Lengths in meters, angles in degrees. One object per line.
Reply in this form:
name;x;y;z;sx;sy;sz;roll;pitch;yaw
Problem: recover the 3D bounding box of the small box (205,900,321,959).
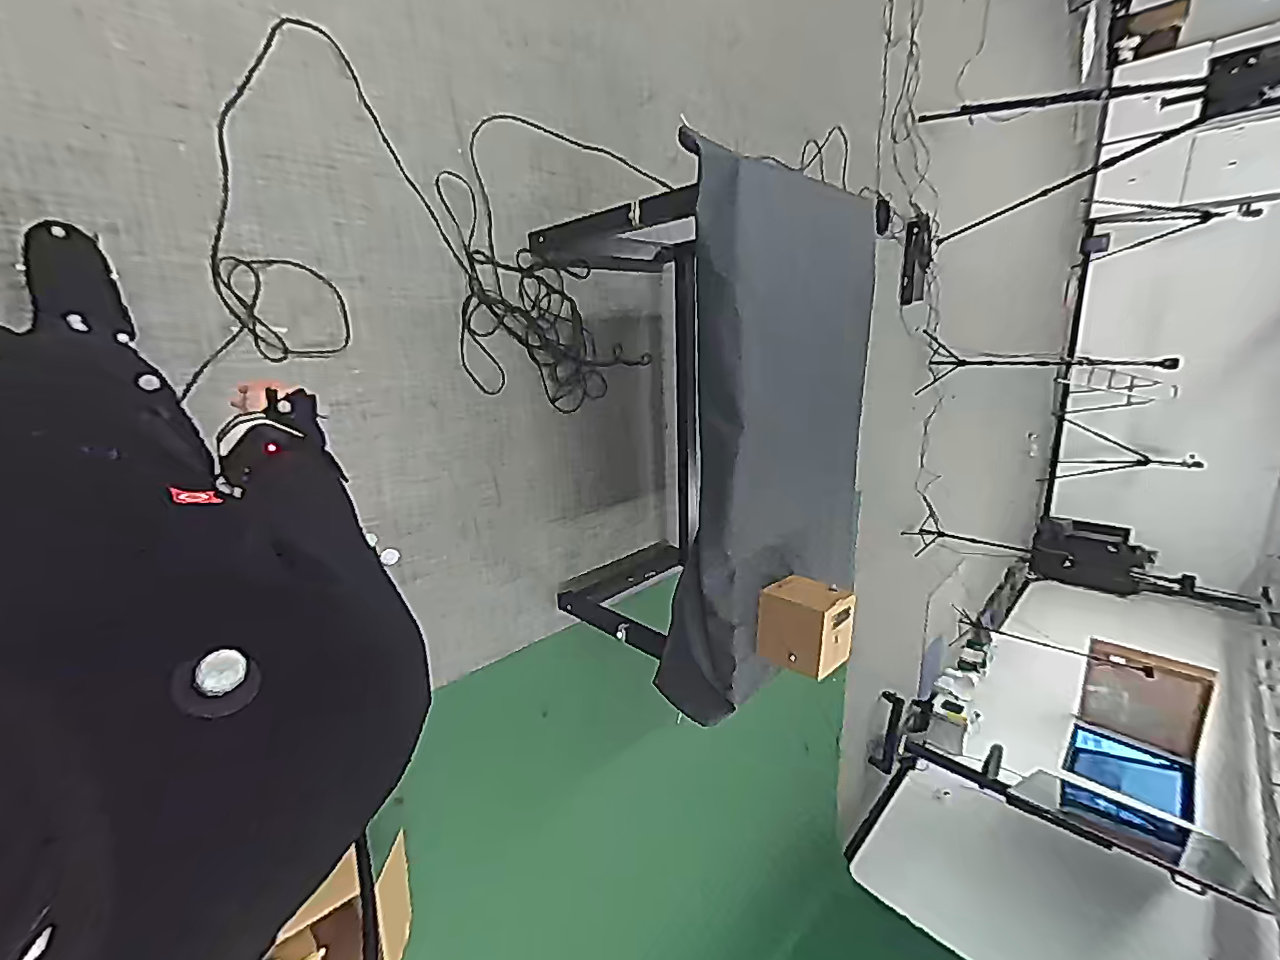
small box;-0.744;1.007;1.078;0.168;0.176;0.179;-11;107;-44
